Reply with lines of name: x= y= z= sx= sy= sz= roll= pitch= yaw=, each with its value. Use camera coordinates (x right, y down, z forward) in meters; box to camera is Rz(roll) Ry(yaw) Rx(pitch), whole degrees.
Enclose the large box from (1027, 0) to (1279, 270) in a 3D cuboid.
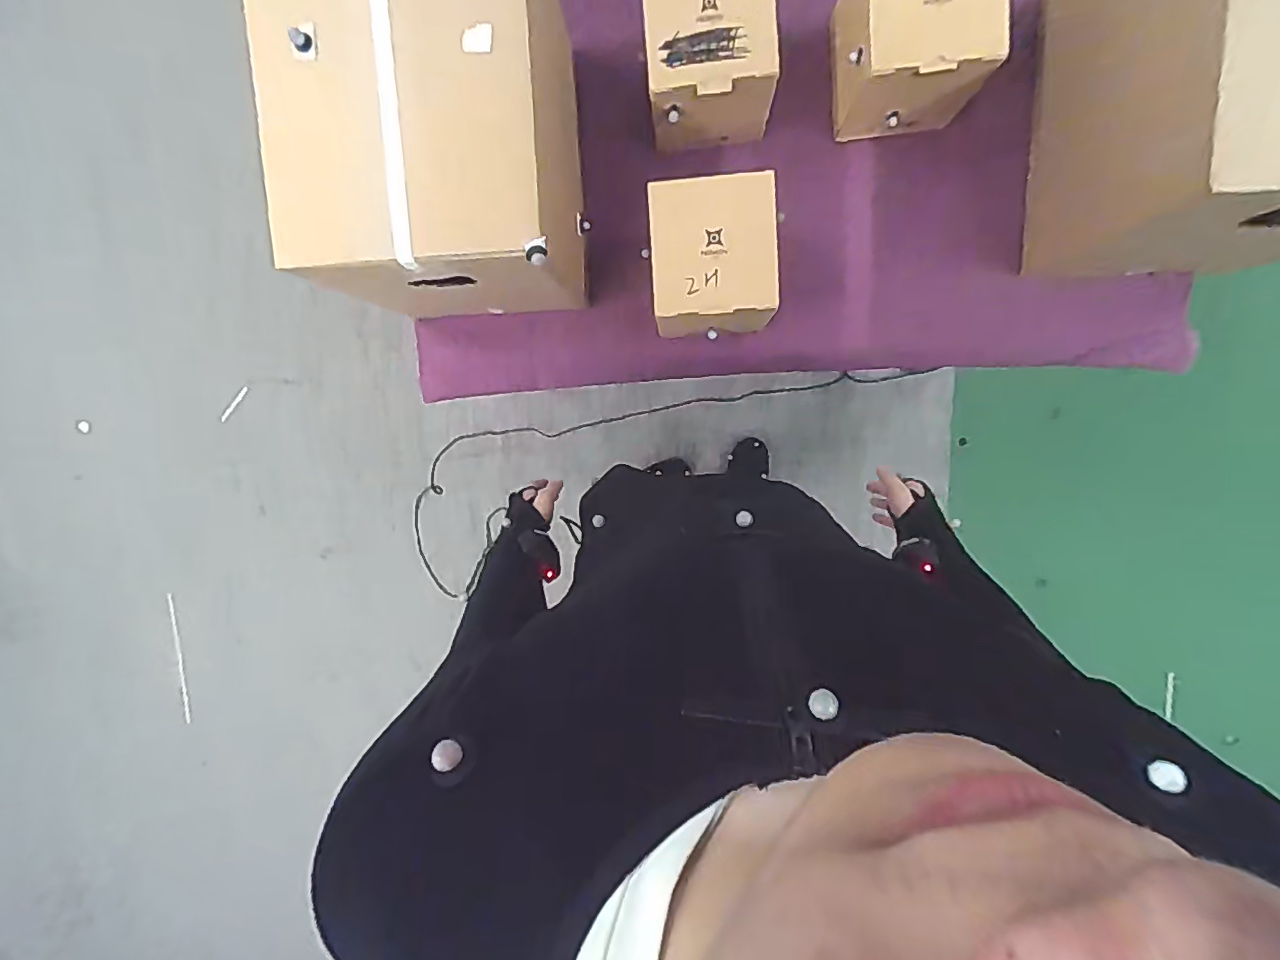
large box: x=0.718 y=-0.501 z=0.643 sx=0.320 sy=0.320 sz=0.408 roll=-1 pitch=97 yaw=6
